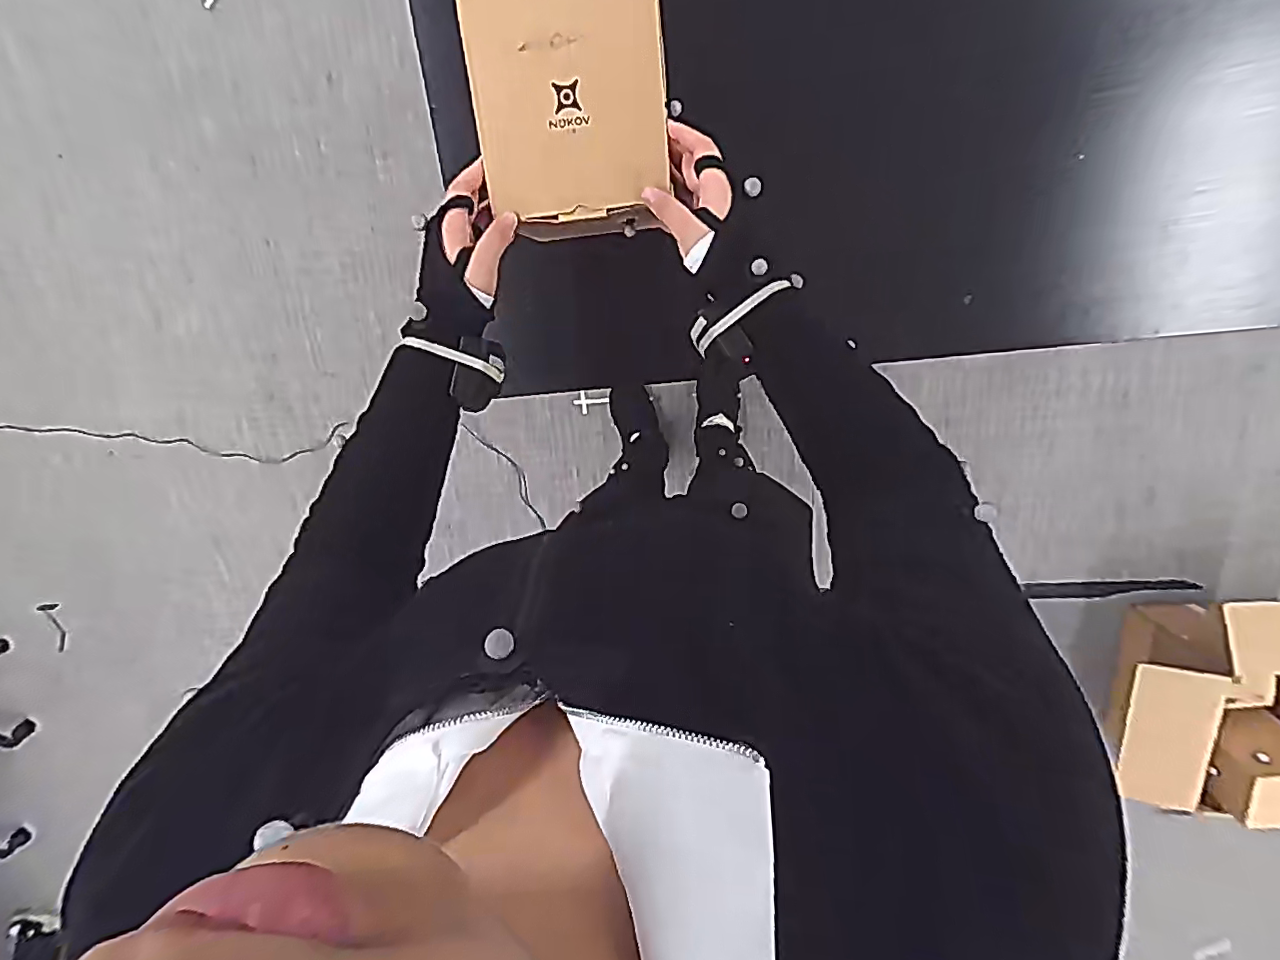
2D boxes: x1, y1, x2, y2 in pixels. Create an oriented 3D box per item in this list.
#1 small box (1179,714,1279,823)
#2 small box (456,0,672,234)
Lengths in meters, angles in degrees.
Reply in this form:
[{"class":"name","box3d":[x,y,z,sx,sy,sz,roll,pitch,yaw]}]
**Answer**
[{"class":"small box","box3d":[1.483,0.698,1.318,0.179,0.176,0.168,-9,111,8]},{"class":"small box","box3d":[-0.056,-0.348,0.533,0.168,0.176,0.179,-4,108,5]}]
